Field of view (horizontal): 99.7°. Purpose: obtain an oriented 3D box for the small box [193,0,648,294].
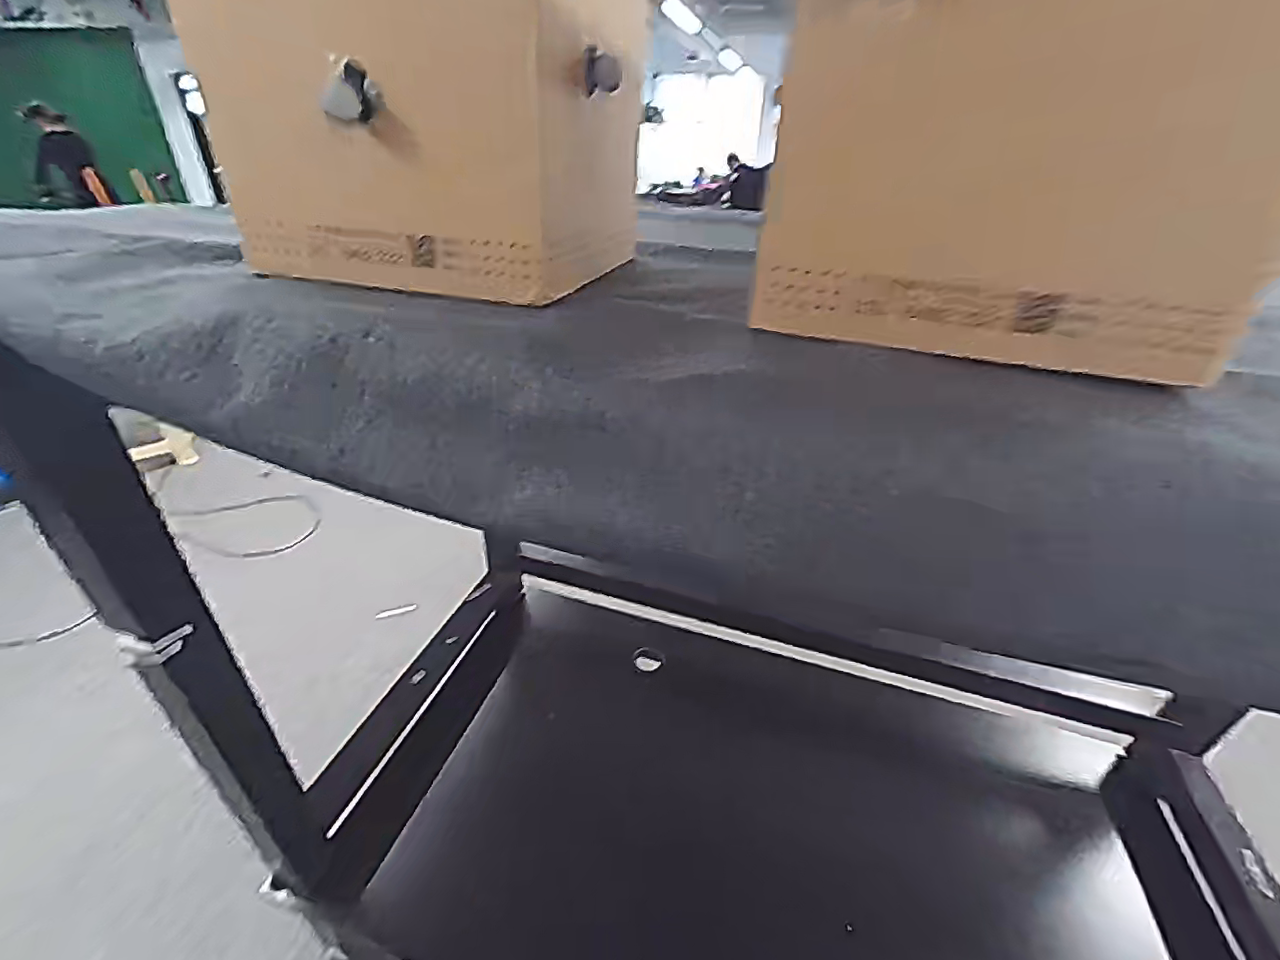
[{"bbox_3d":[-0.092,-0.207,0.293,0.168,0.176,0.179,10,31,10],"label":"small box"}]
